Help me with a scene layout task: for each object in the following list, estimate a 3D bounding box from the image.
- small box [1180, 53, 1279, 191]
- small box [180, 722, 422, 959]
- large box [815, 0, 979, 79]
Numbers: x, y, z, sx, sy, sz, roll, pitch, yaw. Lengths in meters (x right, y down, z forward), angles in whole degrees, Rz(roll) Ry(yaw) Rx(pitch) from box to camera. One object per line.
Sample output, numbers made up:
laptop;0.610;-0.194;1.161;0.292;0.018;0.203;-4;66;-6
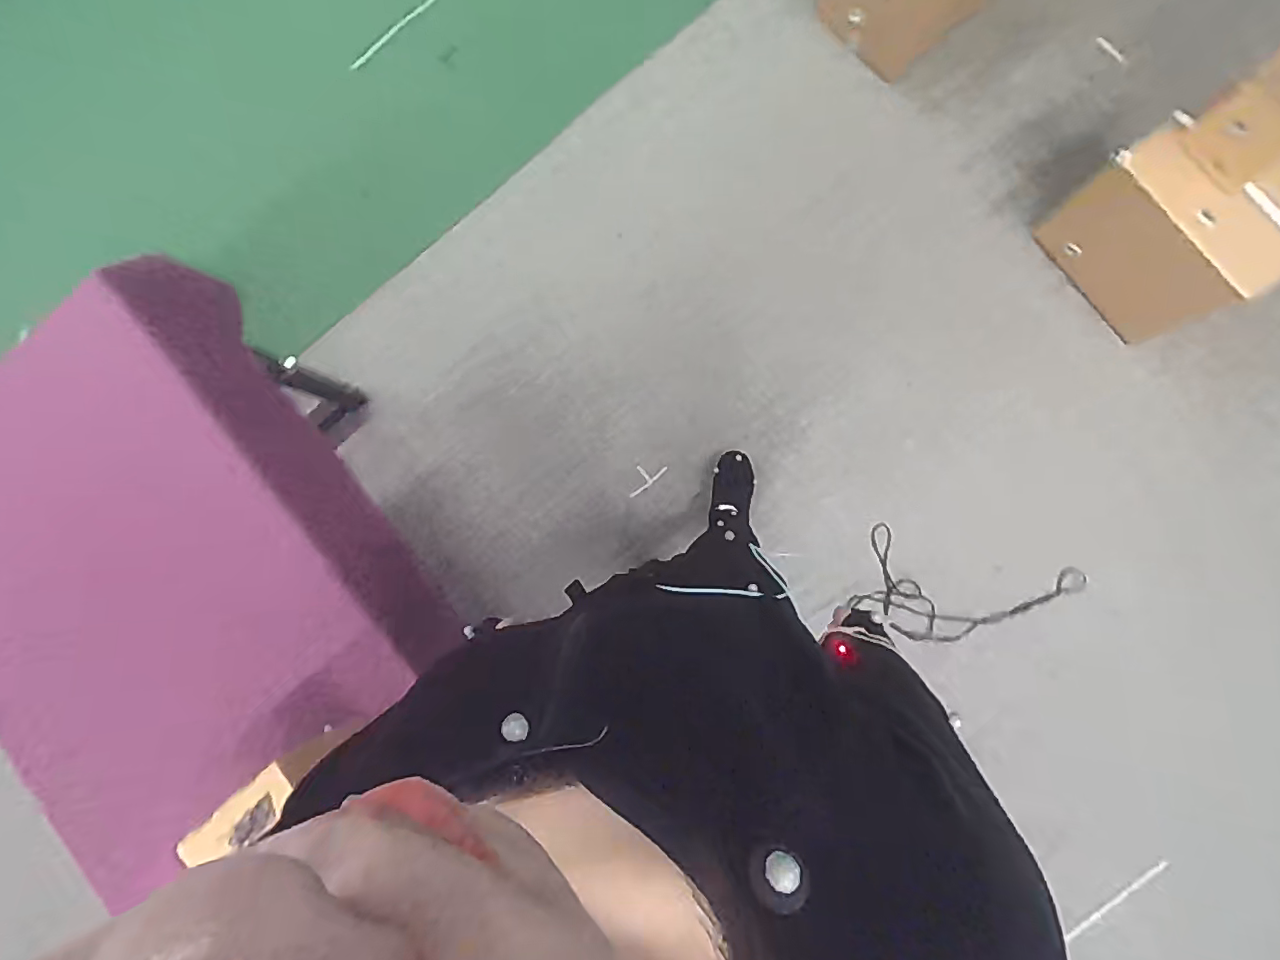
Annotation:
small box;1.238;-0.717;1.065;0.179;0.176;0.168;-34;83;0
small box;-0.436;0.454;0.722;0.168;0.176;0.179;-41;84;2
large box;0.739;-1.391;1.415;0.408;0.320;0.320;-41;83;0
